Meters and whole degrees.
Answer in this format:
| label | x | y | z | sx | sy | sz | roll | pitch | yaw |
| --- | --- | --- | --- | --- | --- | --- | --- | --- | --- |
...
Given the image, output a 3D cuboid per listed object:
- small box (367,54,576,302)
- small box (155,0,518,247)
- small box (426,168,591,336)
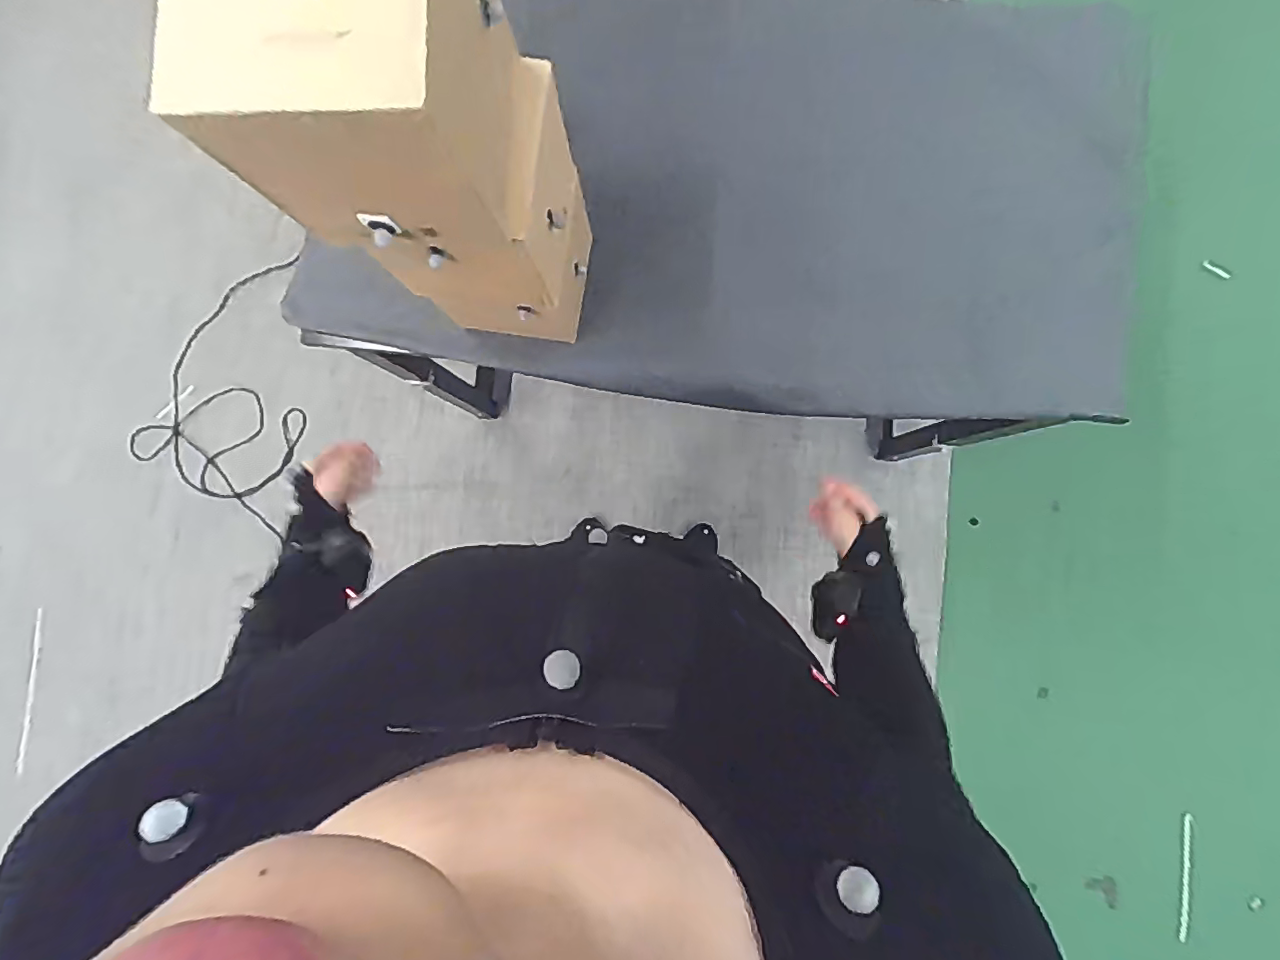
| label | x | y | z | sx | sy | sz | roll | pitch | yaw |
| --- | --- | --- | --- | --- | --- | --- | --- | --- | --- |
| small box | -0.169 | -0.296 | 0.554 | 0.179 | 0.176 | 0.168 | 7 | 88 | 3 |
| small box | -0.193 | -0.294 | 0.393 | 0.168 | 0.176 | 0.179 | 1 | 89 | 4 |
| small box | -0.168 | -0.301 | 0.717 | 0.179 | 0.176 | 0.168 | 9 | 87 | 3 |
